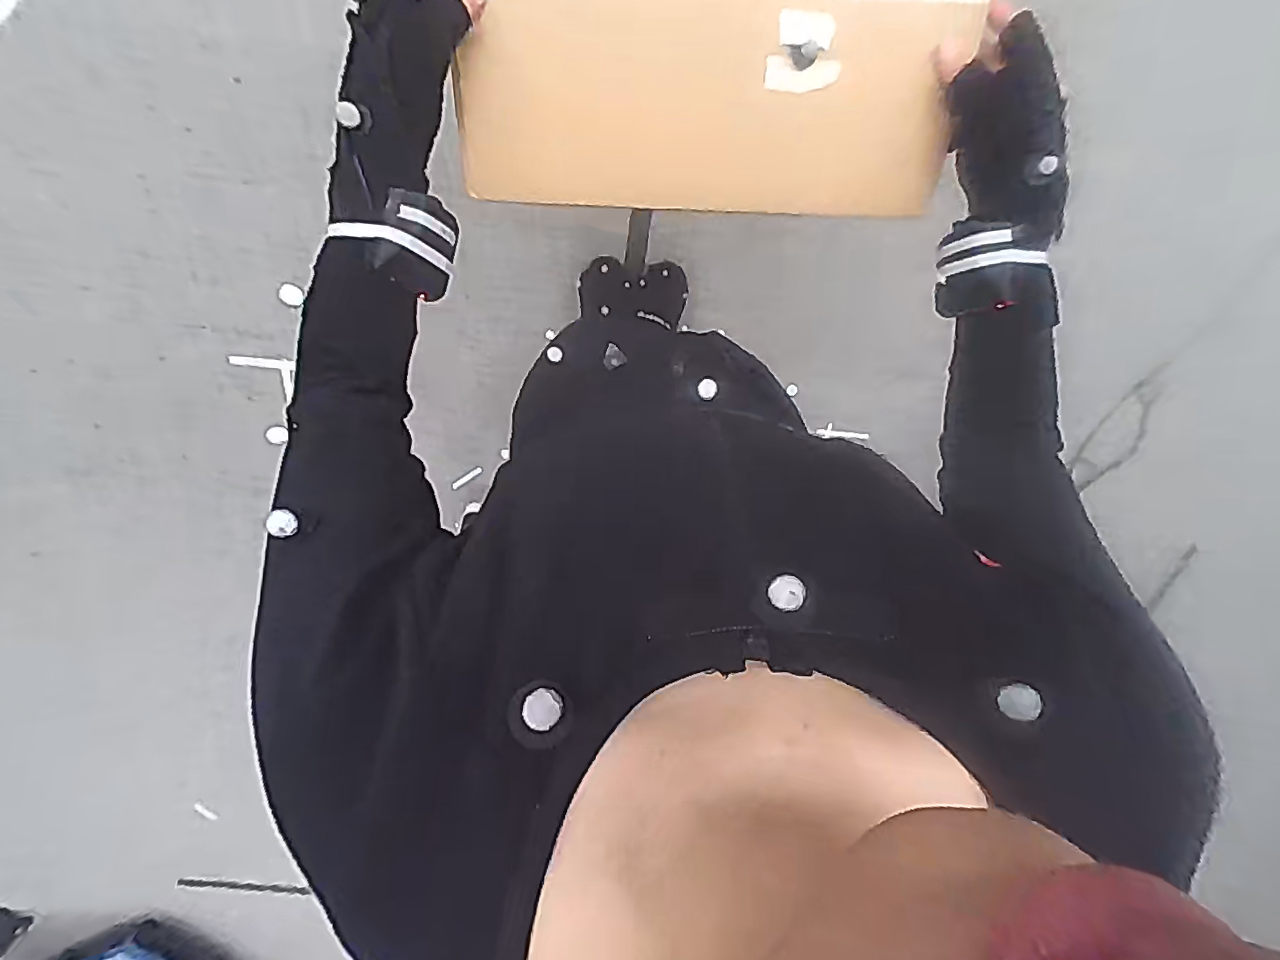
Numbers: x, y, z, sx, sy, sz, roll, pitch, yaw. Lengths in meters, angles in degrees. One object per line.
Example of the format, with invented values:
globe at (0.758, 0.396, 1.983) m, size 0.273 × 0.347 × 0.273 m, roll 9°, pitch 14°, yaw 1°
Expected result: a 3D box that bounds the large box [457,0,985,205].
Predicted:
large box at (0.054, -0.450, 0.518) m, size 0.408 × 0.320 × 0.320 m, roll 0°, pitch 121°, yaw -4°
